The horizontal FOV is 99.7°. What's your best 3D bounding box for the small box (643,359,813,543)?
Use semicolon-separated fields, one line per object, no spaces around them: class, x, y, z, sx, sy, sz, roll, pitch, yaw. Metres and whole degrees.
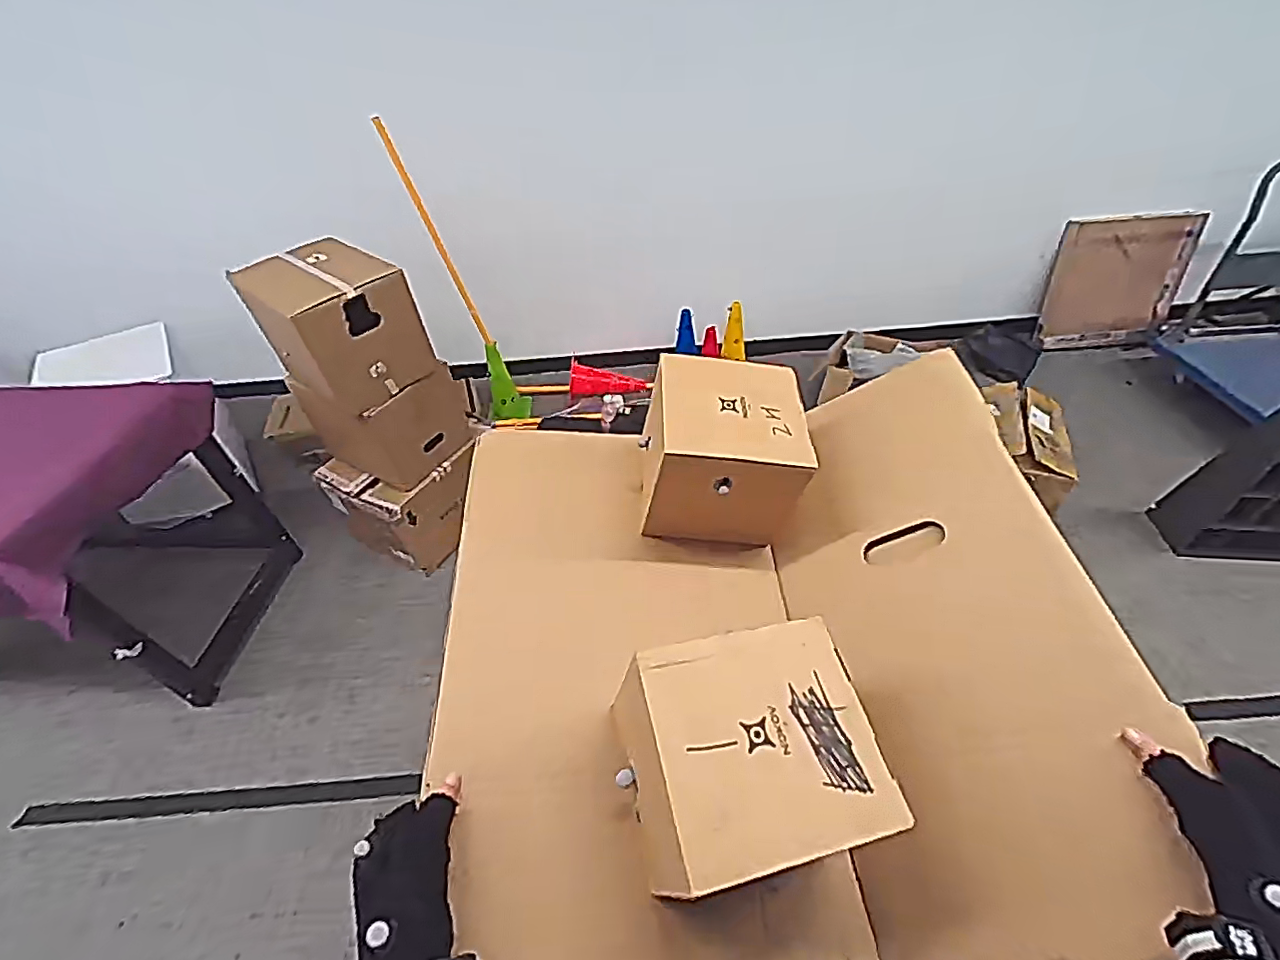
small box;0.100;-0.032;0.706;0.179;0.176;0.168;6;52;-7

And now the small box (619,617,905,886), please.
small box;0.088;0.245;0.491;0.179;0.176;0.168;-7;55;-14
